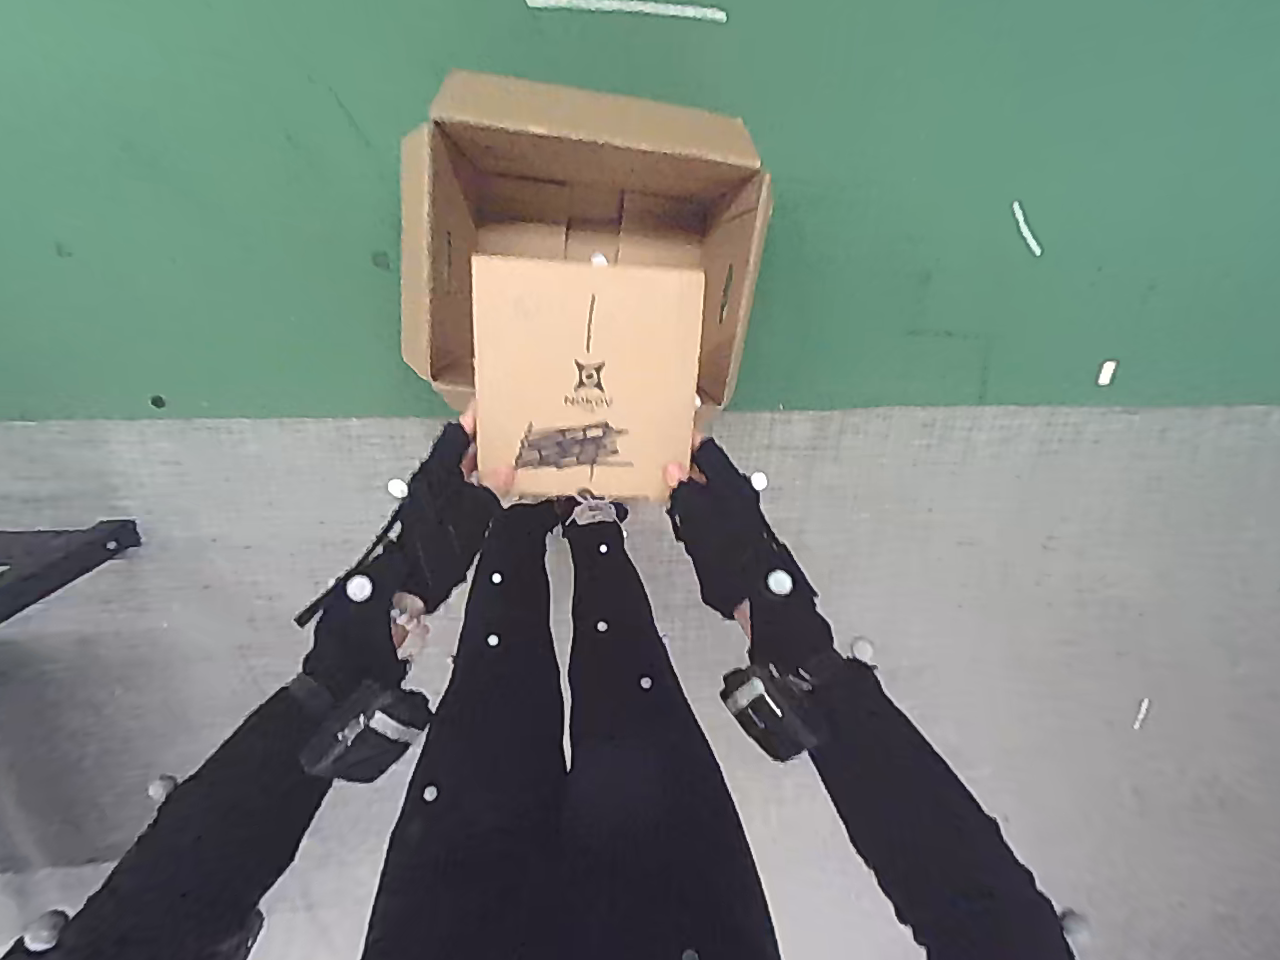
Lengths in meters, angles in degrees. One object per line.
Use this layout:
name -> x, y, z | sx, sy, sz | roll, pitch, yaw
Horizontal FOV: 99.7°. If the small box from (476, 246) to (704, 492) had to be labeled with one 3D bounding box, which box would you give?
small box -> -0.047, -0.099, 0.484 | 0.168, 0.176, 0.179 | 2, 106, -6
